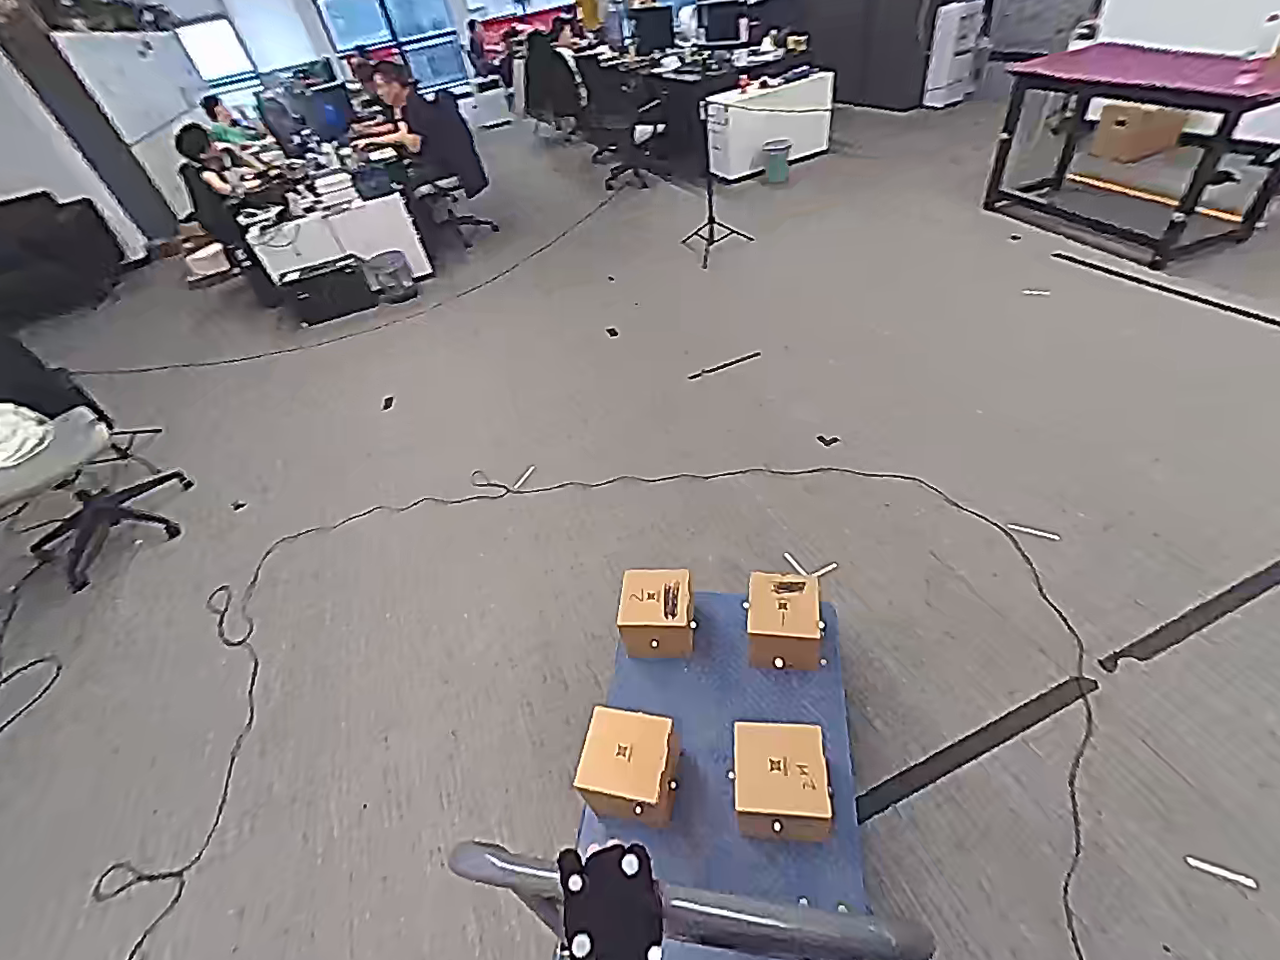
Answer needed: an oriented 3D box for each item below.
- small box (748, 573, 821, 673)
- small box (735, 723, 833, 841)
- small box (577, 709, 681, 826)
[{"bbox_3d":[0.359,0.356,1.355,0.168,0.176,0.179,1,46,14],"label":"small box"},{"bbox_3d":[0.287,0.614,1.099,0.179,0.176,0.168,-2,44,11],"label":"small box"},{"bbox_3d":[-0.016,0.619,1.164,0.179,0.176,0.168,3,45,14],"label":"small box"}]
